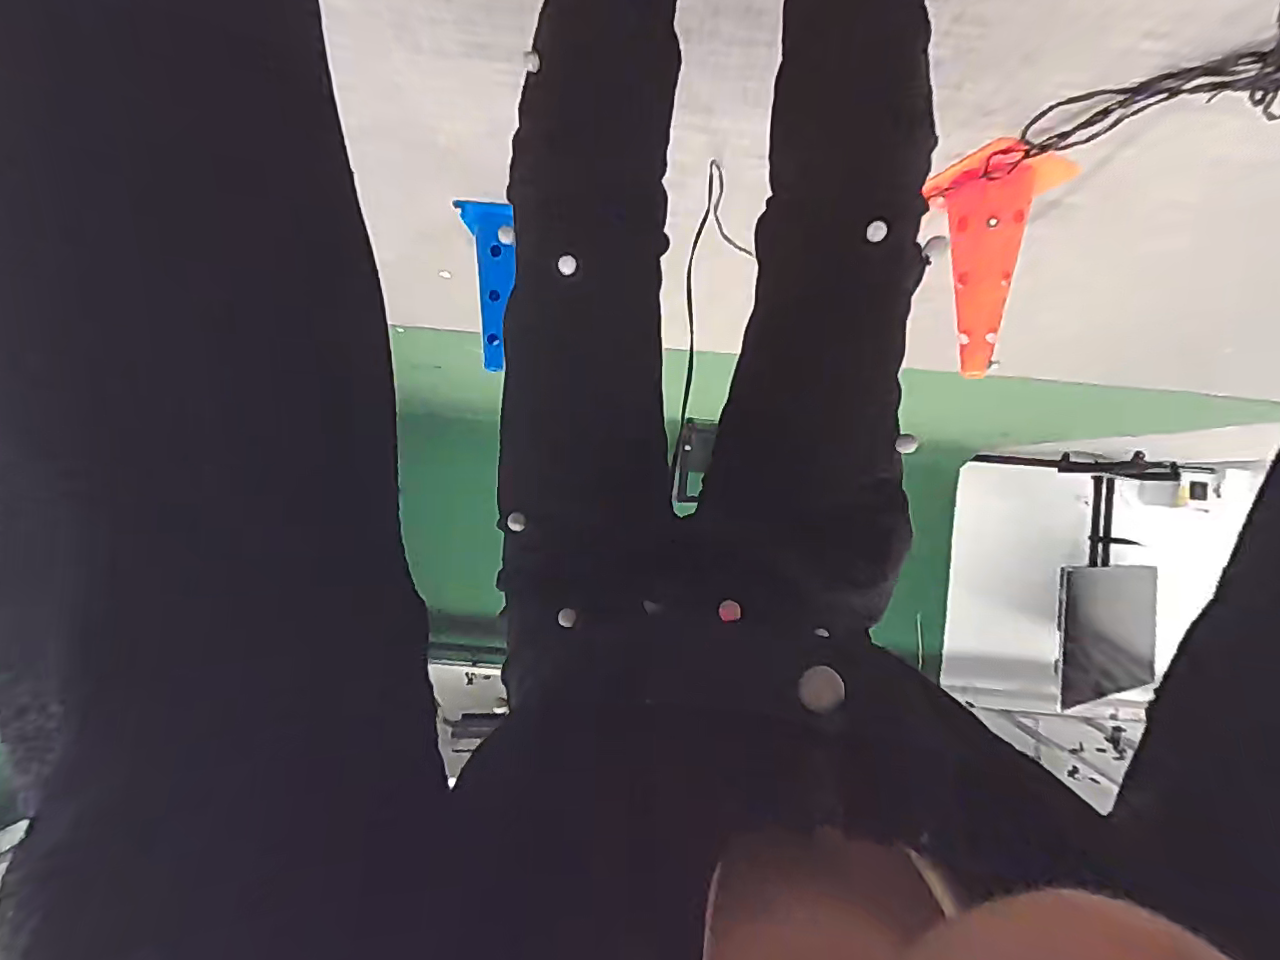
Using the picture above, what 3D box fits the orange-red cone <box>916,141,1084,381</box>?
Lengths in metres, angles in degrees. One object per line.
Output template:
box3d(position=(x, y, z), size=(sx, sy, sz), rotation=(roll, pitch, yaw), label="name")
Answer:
box3d(position=(0.618, -0.357, 0.959), size=(0.199, 0.360, 0.198), rotation=(4, 180, -20), label="orange-red cone")

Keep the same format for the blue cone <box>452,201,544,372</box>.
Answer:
box3d(position=(-0.348, -0.450, 1.299), size=(0.192, 0.380, 0.193), rotation=(5, 179, 0), label="blue cone")
